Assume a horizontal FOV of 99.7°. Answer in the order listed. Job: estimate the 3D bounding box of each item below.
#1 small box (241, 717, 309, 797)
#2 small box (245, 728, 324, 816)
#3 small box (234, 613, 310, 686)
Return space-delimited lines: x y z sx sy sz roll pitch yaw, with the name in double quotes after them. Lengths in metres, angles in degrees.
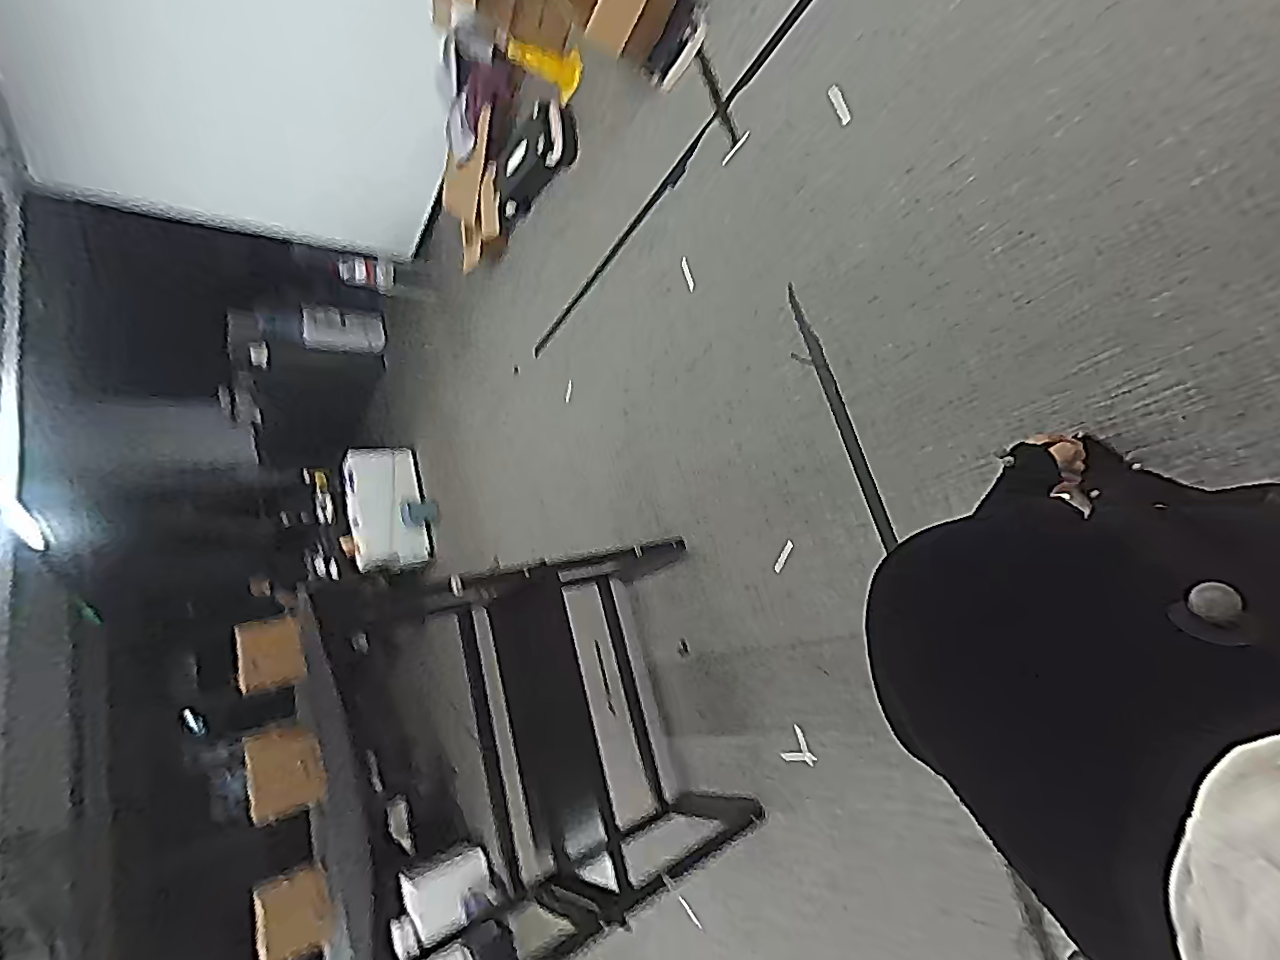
-1.127 0.849 1.678 0.168 0.176 0.179 -30 70 49 "small box"
-0.993 0.812 1.507 0.179 0.176 0.168 -42 62 44 "small box"
-1.068 0.491 1.571 0.179 0.176 0.168 -27 73 50 "small box"
